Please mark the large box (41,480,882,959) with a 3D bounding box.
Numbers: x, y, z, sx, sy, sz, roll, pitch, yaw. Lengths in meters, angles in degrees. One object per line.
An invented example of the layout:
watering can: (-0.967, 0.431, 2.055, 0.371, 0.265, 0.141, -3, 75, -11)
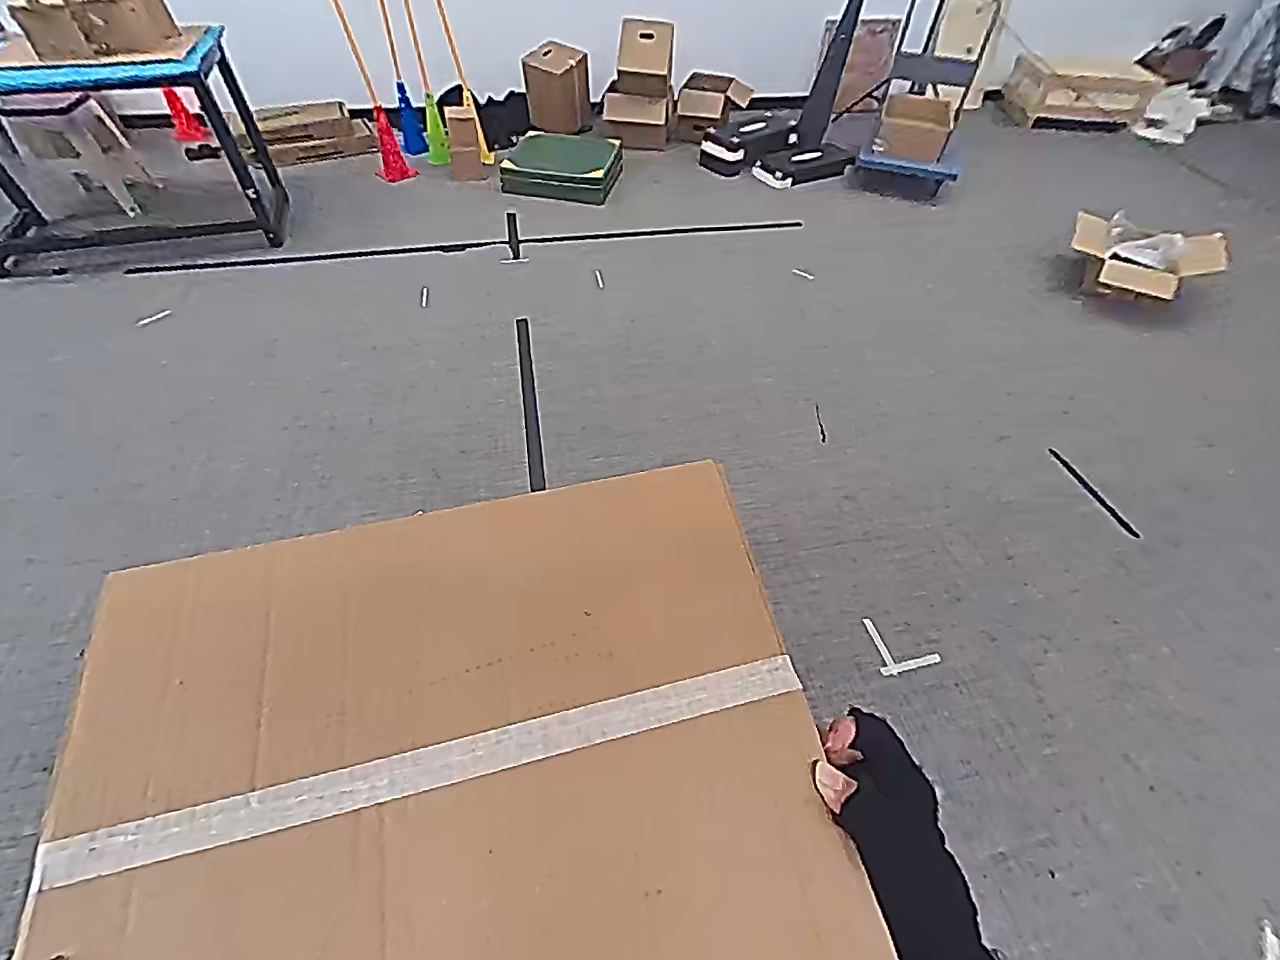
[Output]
large box: (-0.106, 0.238, 0.436, 0.408, 0.320, 0.320, -11, 62, -8)
